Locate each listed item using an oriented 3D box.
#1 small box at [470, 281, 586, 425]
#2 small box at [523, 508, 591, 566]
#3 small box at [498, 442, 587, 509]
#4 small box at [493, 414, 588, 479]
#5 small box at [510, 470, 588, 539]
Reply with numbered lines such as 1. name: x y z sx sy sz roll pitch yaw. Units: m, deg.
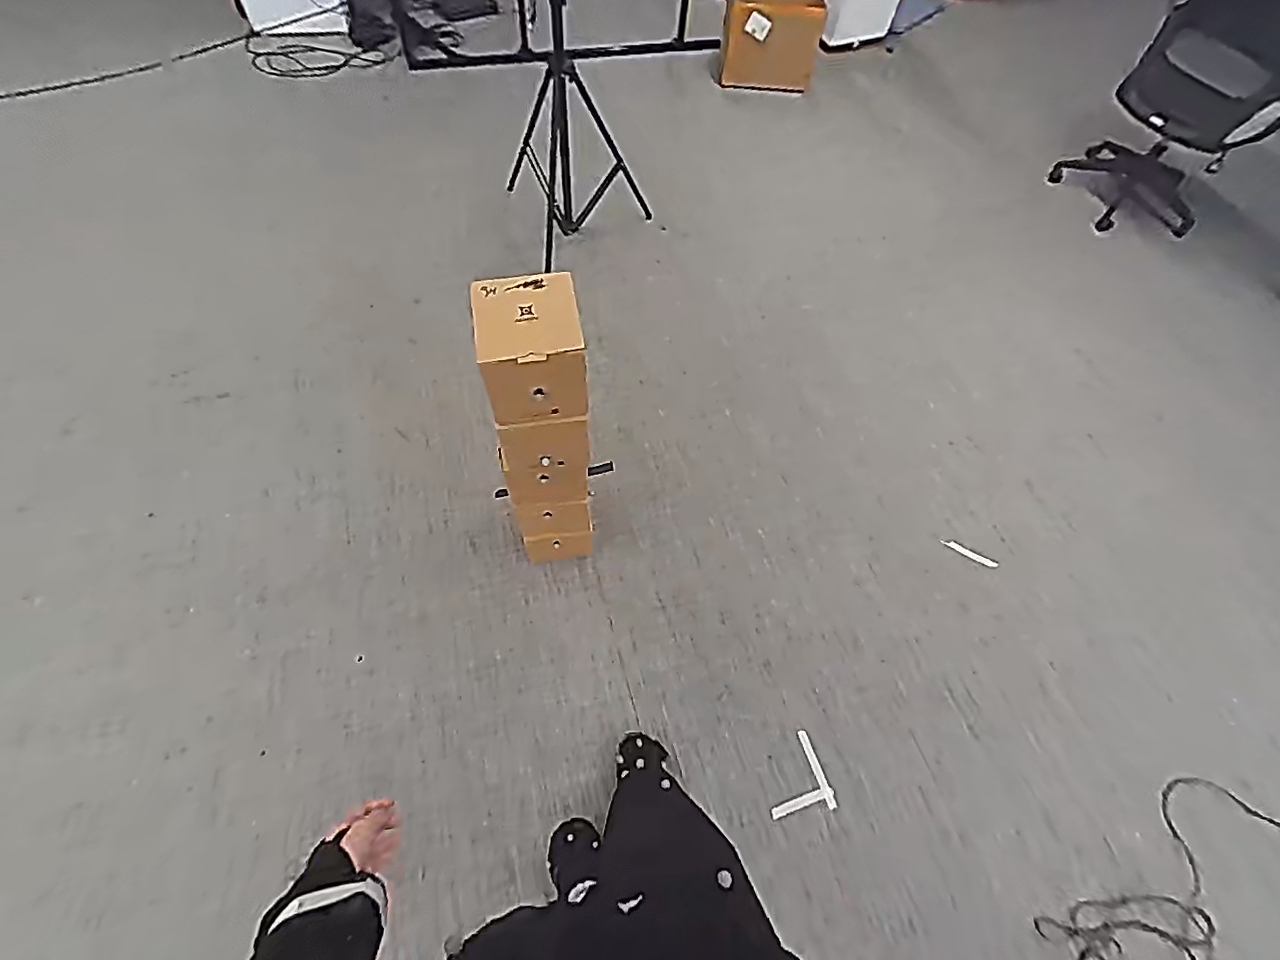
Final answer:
1. small box: -0.186 -0.208 0.927 0.168 0.176 0.179 -9 64 -8
2. small box: -0.230 0.126 1.488 0.179 0.176 0.168 -7 62 -7
3. small box: -0.216 -0.044 1.211 0.179 0.176 0.168 -6 63 -8
4. small box: -0.194 -0.122 1.067 0.168 0.176 0.179 -7 63 -6
5. small box: -0.223 0.040 1.348 0.179 0.176 0.168 -4 62 -6
